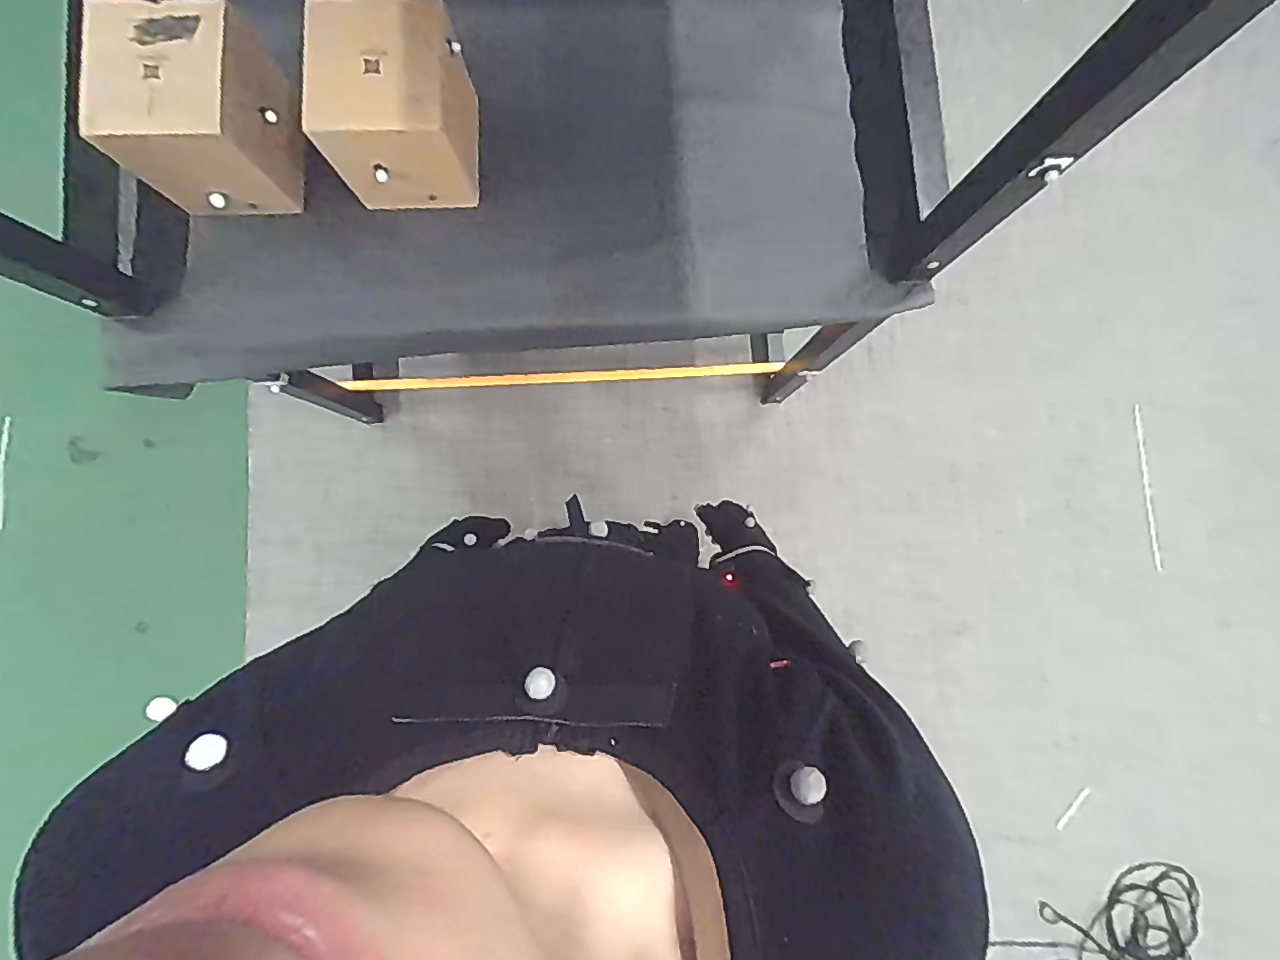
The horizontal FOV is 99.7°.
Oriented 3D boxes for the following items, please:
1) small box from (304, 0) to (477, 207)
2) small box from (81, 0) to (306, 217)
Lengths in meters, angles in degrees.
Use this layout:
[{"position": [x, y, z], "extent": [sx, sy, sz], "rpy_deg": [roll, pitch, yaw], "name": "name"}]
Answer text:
[{"position": [-0.324, -0.494, 0.733], "extent": [0.168, 0.176, 0.179], "rpy_deg": [-2, 85, -2], "name": "small box"}, {"position": [-0.576, -0.482, 0.723], "extent": [0.168, 0.176, 0.179], "rpy_deg": [-2, 86, -2], "name": "small box"}]
